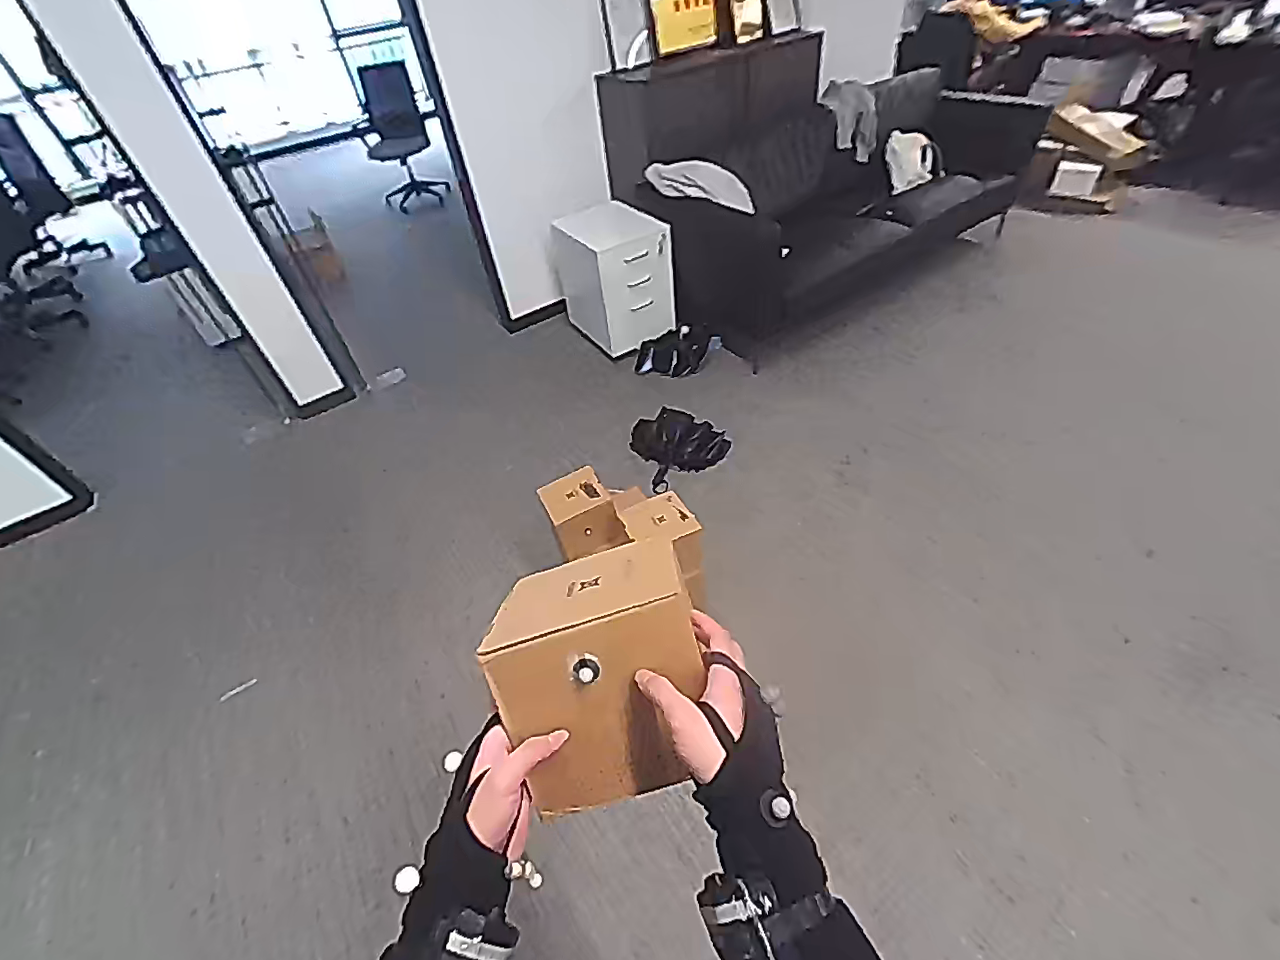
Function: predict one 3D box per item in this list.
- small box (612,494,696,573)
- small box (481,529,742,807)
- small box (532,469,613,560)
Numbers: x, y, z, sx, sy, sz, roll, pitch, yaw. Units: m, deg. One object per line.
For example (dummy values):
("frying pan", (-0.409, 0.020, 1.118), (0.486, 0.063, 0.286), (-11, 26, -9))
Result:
("small box", (0.042, 0.173, 1.475), (0.179, 0.176, 0.168), (-22, 45, -17))
("small box", (-0.021, 0.166, 0.510), (0.179, 0.176, 0.168), (-17, 10, 1))
("small box", (-0.190, 0.104, 1.578), (0.179, 0.176, 0.168), (-25, 46, -13))
